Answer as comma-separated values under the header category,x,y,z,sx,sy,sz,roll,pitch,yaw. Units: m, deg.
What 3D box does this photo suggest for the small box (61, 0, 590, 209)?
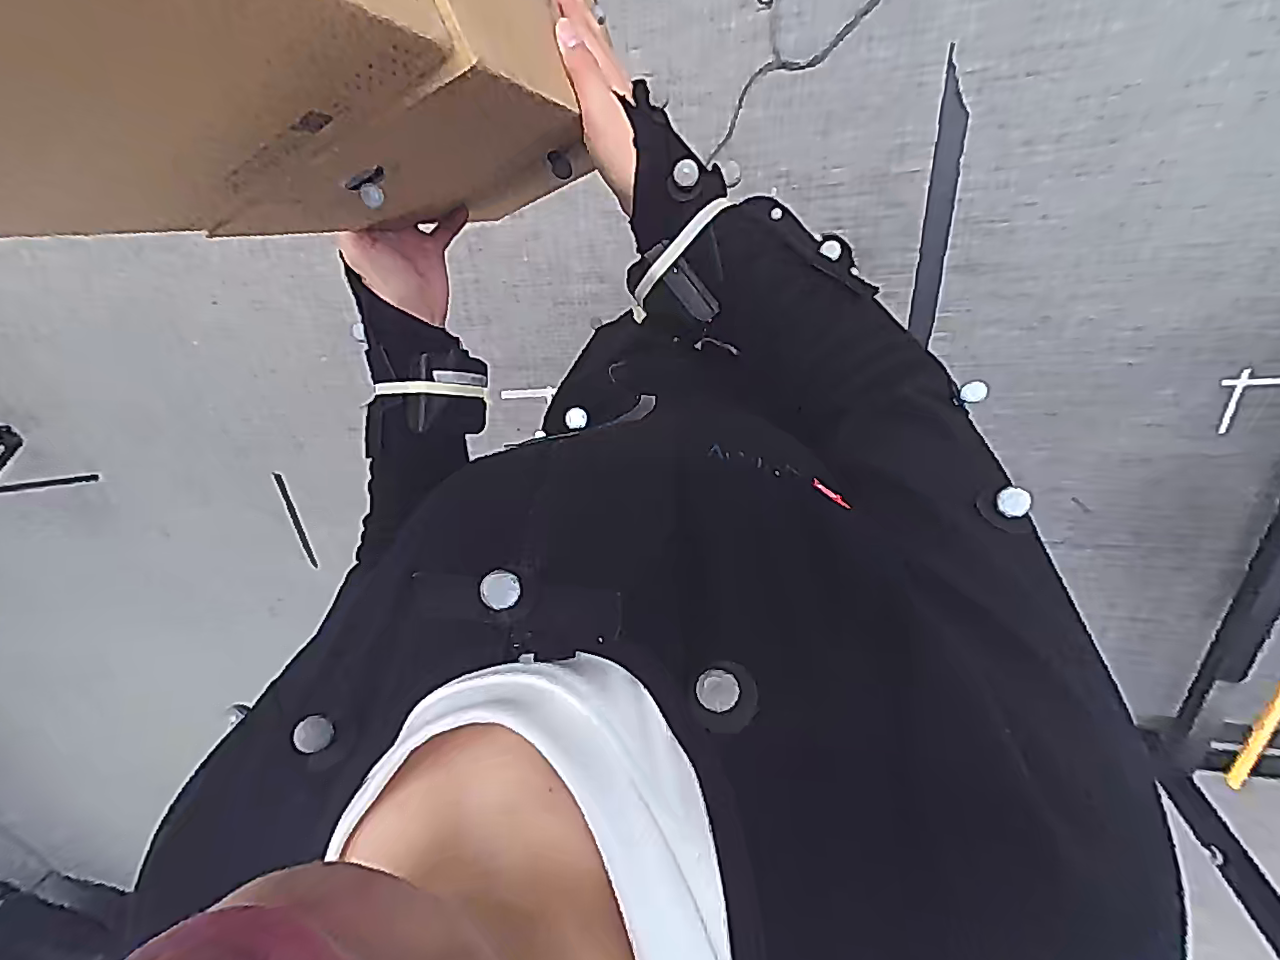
category,x,y,z,sx,sy,sz,roll,pitch,yaw
small box,-0.151,-0.253,0.275,0.179,0.176,0.168,-15,112,20
